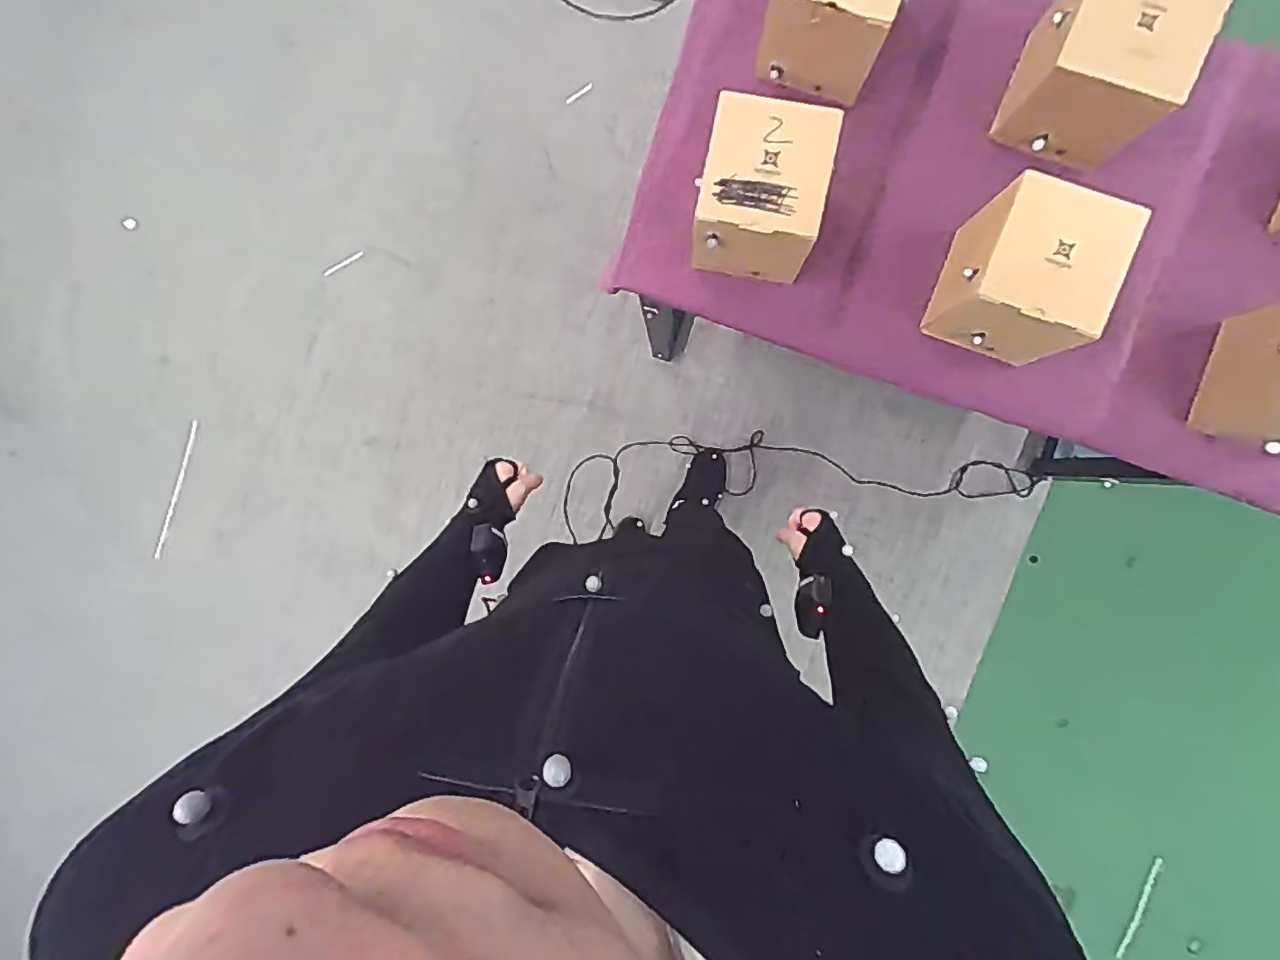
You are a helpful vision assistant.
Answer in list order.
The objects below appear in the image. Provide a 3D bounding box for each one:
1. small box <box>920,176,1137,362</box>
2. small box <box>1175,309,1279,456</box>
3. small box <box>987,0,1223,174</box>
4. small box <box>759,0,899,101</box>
[{"bbox_3d":[0.544,-0.291,0.787,0.168,0.176,0.179,21,93,2],"label":"small box"},{"bbox_3d":[0.935,-0.140,0.768,0.168,0.176,0.179,19,94,4],"label":"small box"},{"bbox_3d":[0.641,-0.583,0.768,0.168,0.176,0.179,22,95,3],"label":"small box"},{"bbox_3d":[0.282,-0.698,0.778,0.168,0.176,0.179,20,94,1],"label":"small box"}]
